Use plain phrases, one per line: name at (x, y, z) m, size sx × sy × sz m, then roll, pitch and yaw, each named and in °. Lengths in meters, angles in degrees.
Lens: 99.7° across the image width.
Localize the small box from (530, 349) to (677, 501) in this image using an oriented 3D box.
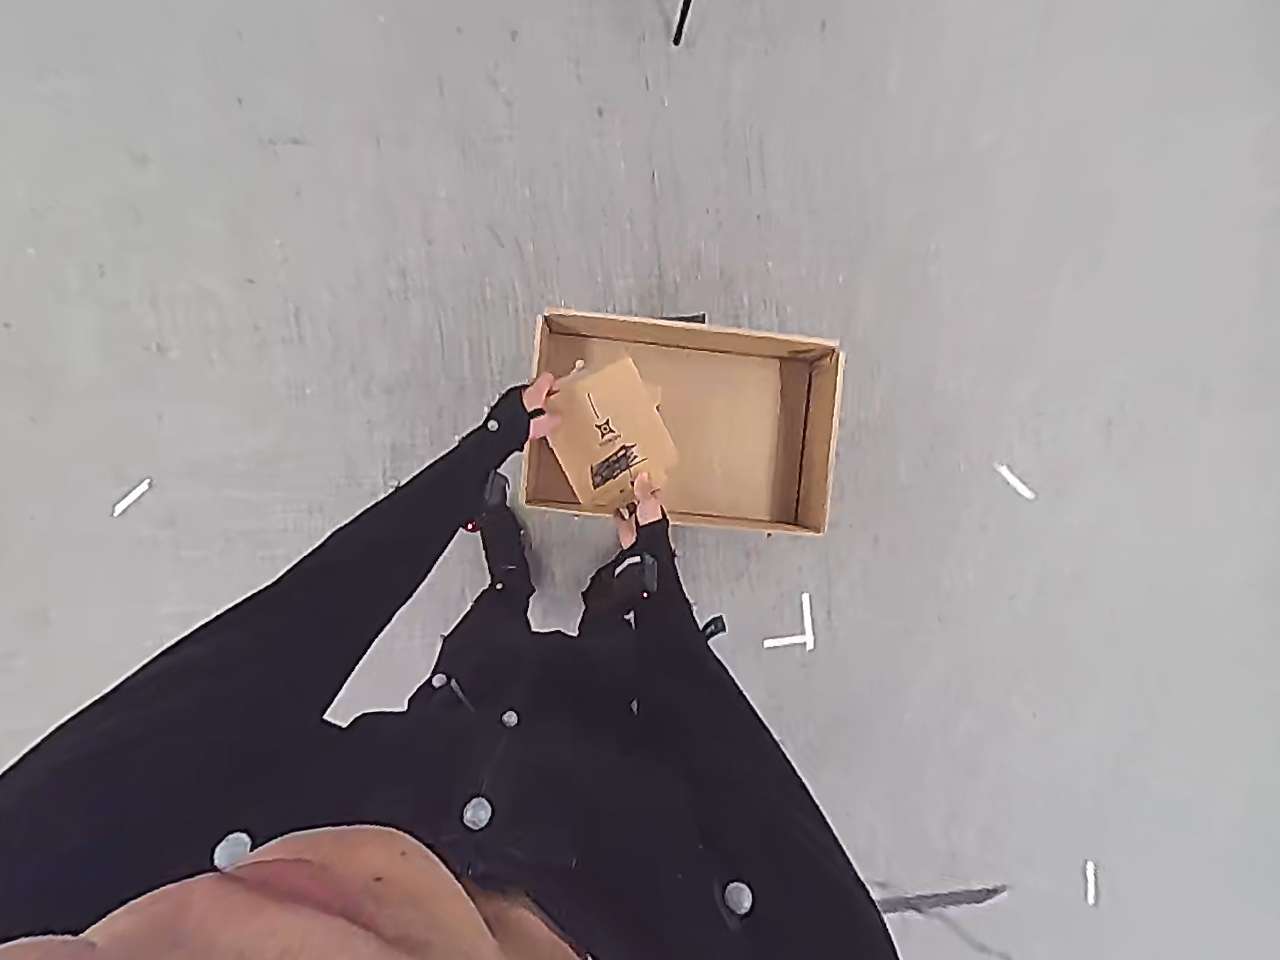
small box at (-0.058, -0.098, 0.882) m, size 0.168 × 0.176 × 0.179 m, roll -28°, pitch 108°, yaw 3°
